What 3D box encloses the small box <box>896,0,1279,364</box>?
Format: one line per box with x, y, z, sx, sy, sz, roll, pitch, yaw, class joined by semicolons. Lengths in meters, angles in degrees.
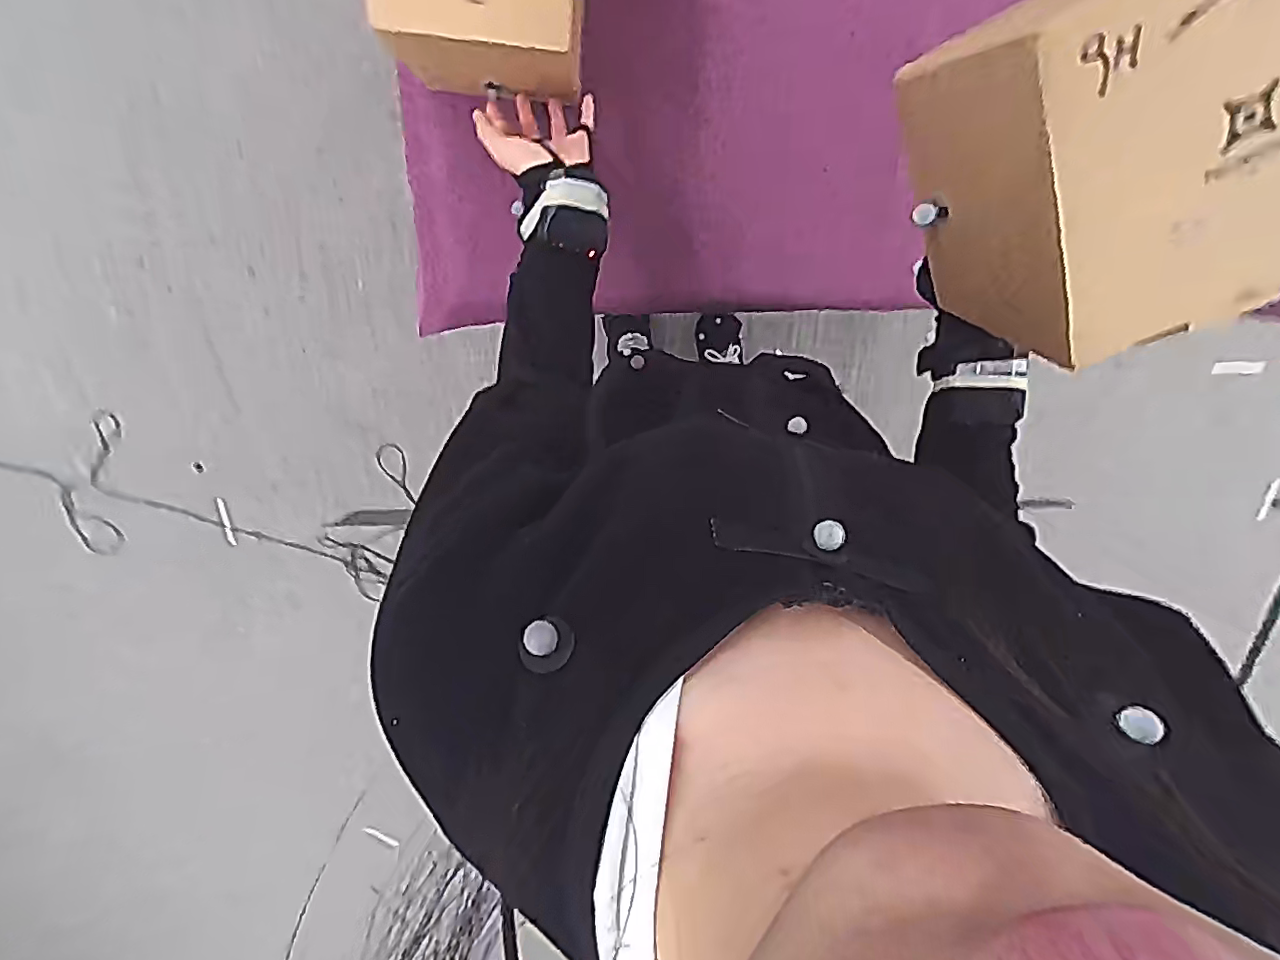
0.283;-0.204;0.327;0.168;0.176;0.179;-23;118;13;small box
